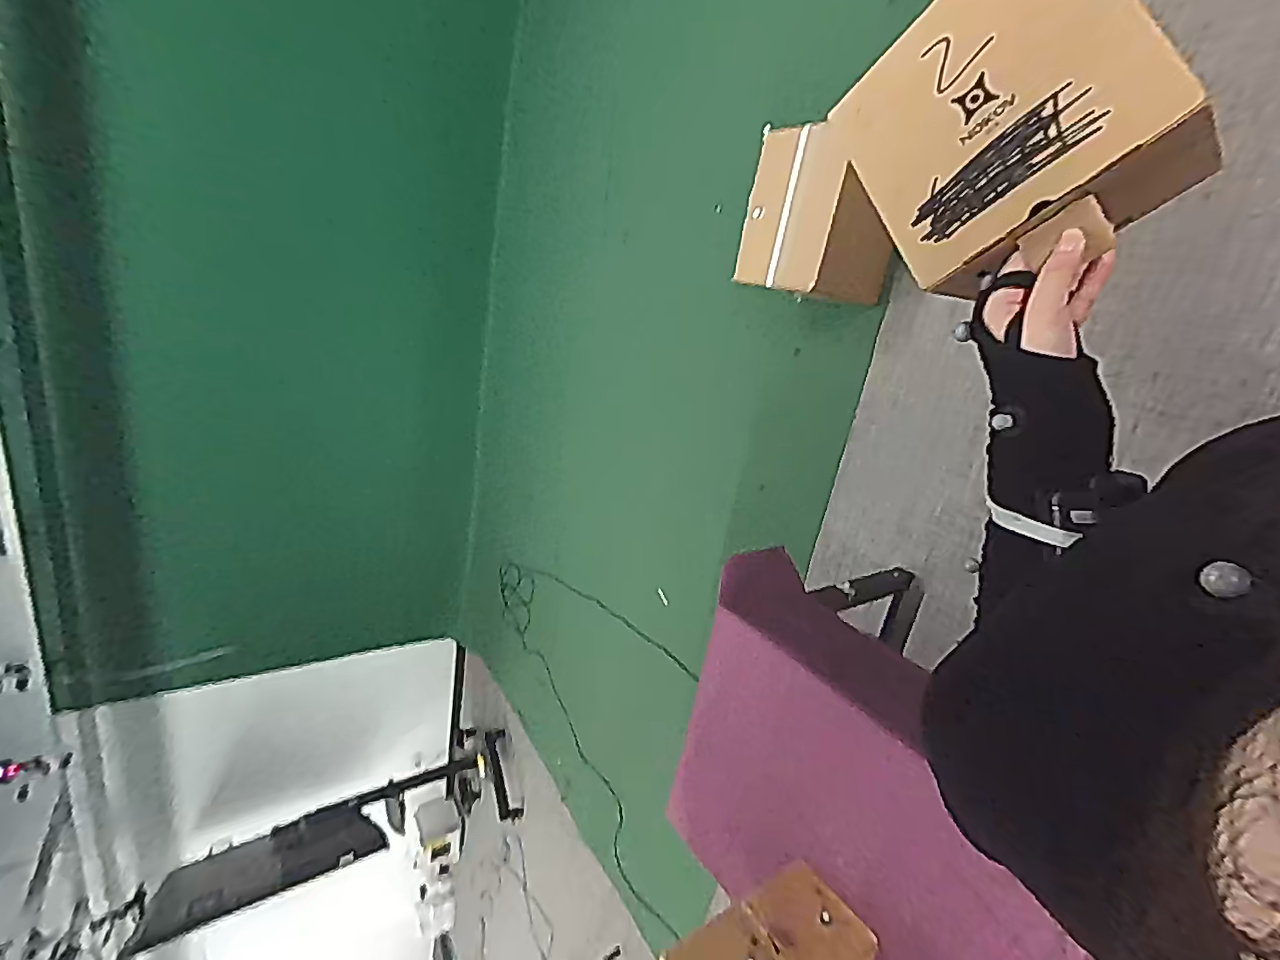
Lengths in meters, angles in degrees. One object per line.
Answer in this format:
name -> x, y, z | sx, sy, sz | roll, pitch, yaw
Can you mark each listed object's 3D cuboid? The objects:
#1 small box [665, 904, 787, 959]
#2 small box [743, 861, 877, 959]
small box -> 0.139, 0.828, 0.843 | 0.168, 0.176, 0.179 | 32, 117, 48
small box -> 0.278, 0.818, 0.932 | 0.168, 0.176, 0.179 | 28, 114, 50
